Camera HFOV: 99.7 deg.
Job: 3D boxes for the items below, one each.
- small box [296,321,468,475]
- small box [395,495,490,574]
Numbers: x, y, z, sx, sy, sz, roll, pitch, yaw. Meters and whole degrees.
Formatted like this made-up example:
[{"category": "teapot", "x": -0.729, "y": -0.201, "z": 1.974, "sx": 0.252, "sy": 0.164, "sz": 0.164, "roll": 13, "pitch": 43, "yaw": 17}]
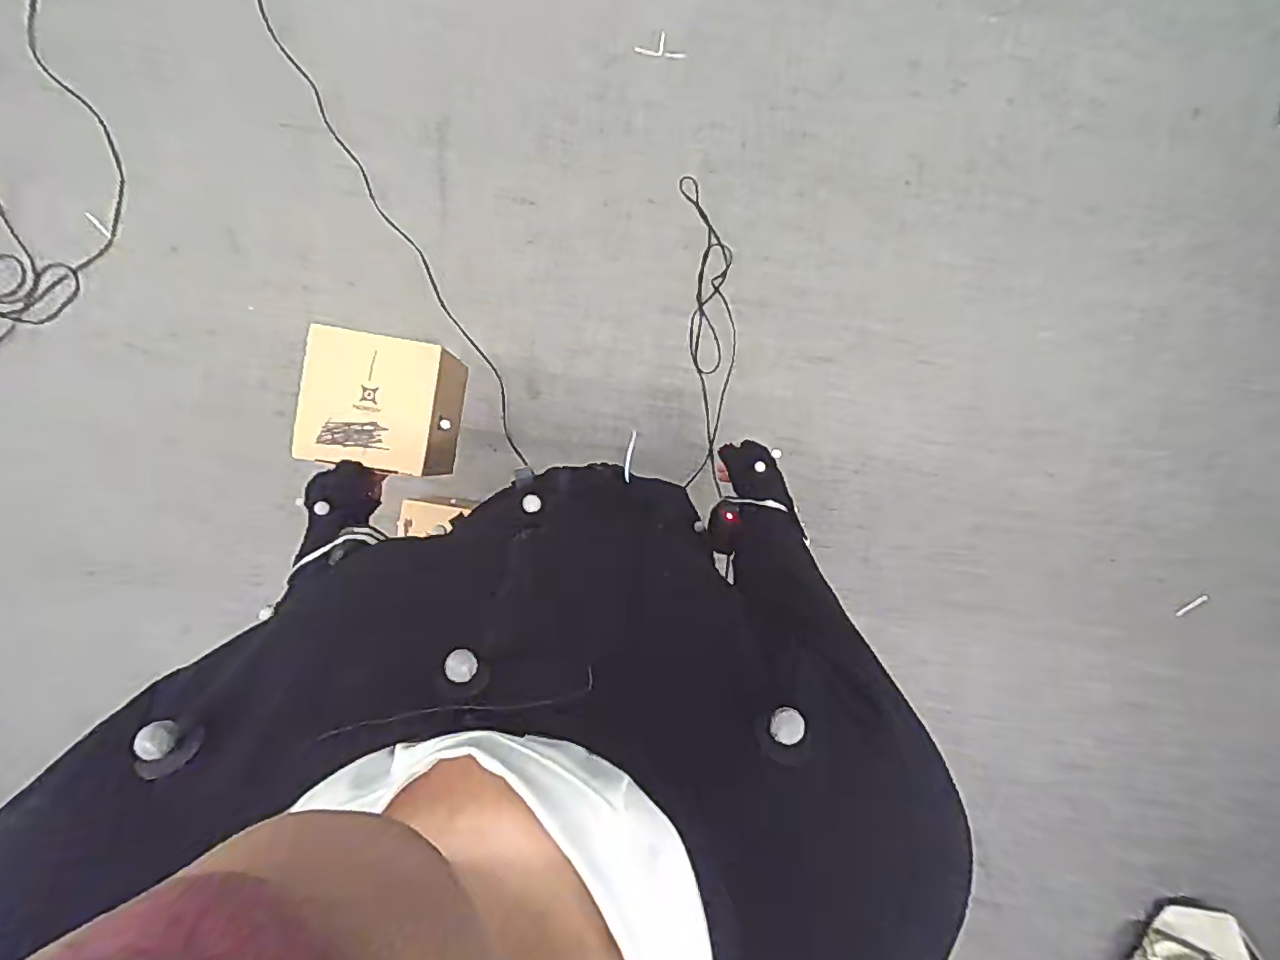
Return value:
[{"category": "small box", "x": -0.355, "y": -0.107, "z": 0.776, "sx": 0.168, "sy": 0.176, "sz": 0.179, "roll": 9, "pitch": 91, "yaw": -7}, {"category": "small box", "x": -0.499, "y": 0.133, "z": 1.392, "sx": 0.179, "sy": 0.176, "sz": 0.168, "roll": 9, "pitch": 91, "yaw": -1}]
